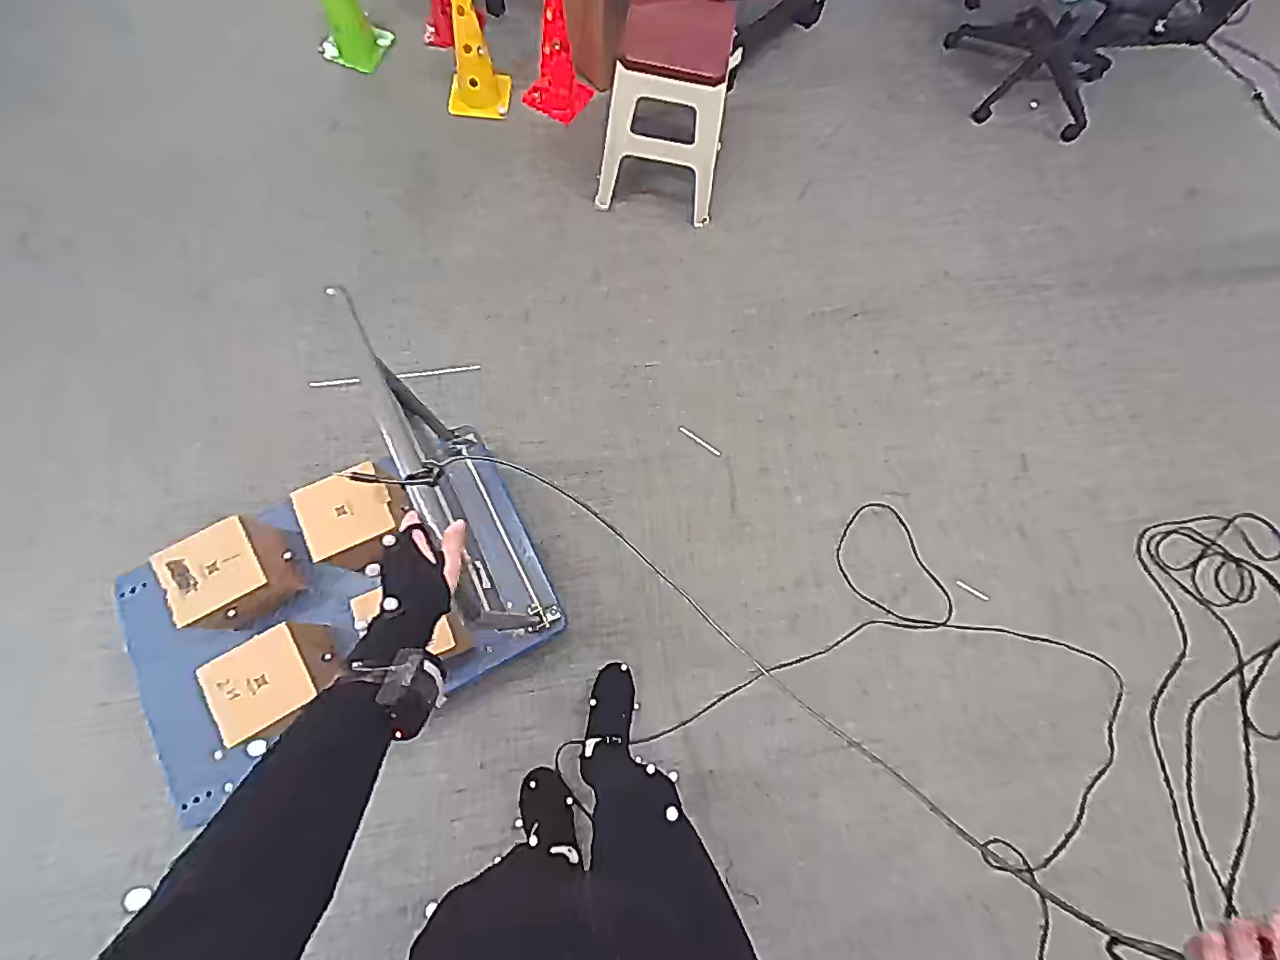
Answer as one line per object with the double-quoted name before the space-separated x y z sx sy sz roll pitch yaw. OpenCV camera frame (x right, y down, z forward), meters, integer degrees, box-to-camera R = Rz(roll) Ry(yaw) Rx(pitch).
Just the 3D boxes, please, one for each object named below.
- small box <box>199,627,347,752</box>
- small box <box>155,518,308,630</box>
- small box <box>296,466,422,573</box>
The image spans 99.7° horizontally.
"small box" -0.730 0.416 1.100 0.179 0.176 0.168 -28 76 -12
"small box" -0.859 0.207 1.153 0.179 0.176 0.168 -28 78 -13
"small box" -0.619 0.095 1.207 0.179 0.176 0.168 -24 77 -11
